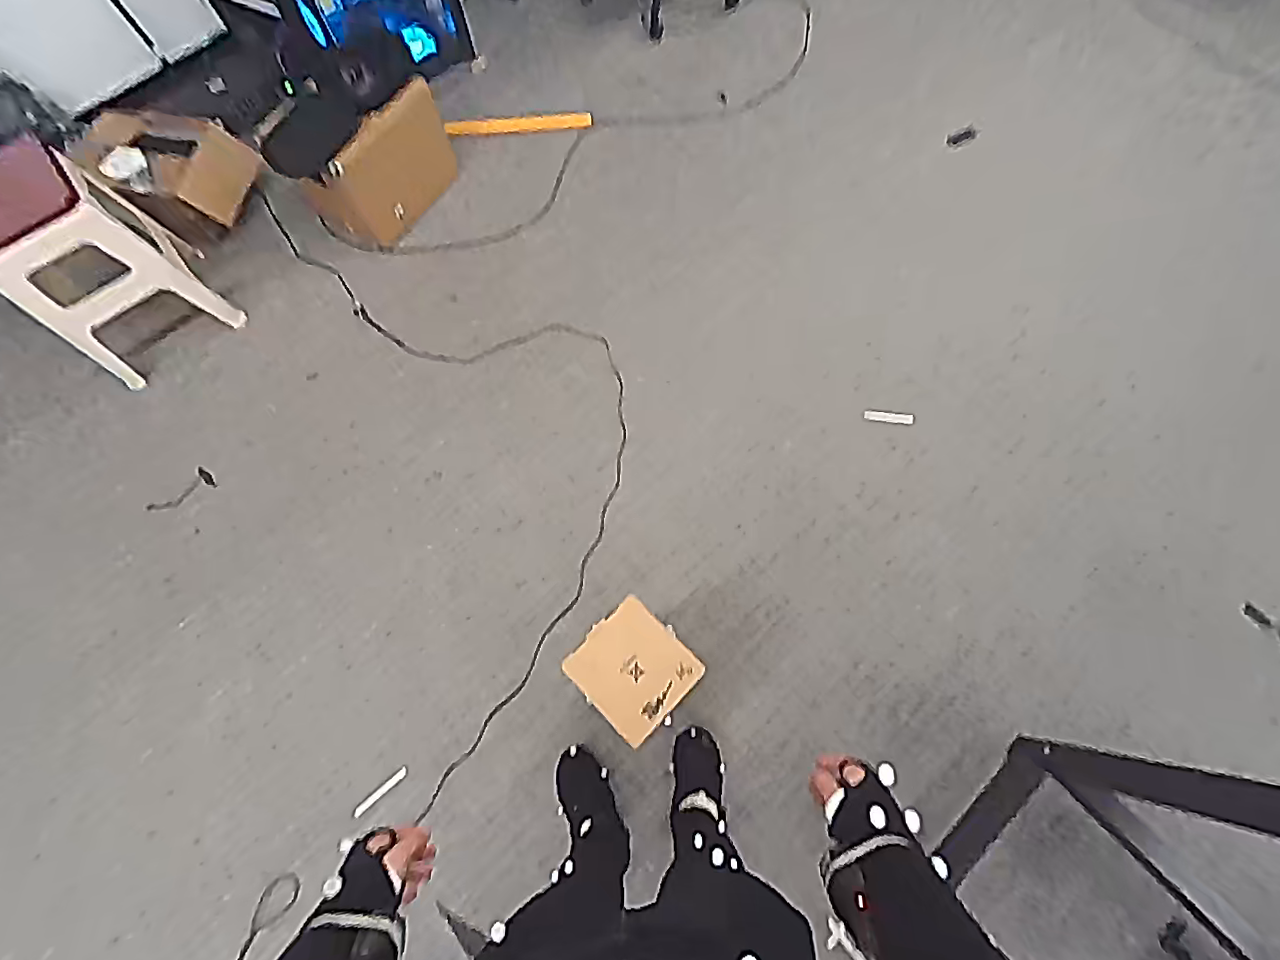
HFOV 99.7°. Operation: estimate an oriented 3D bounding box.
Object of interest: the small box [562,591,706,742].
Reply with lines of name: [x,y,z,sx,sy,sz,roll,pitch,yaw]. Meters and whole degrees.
small box: [-0.009,0.322,0.940,0.179,0.176,0.168,43,77,14]
